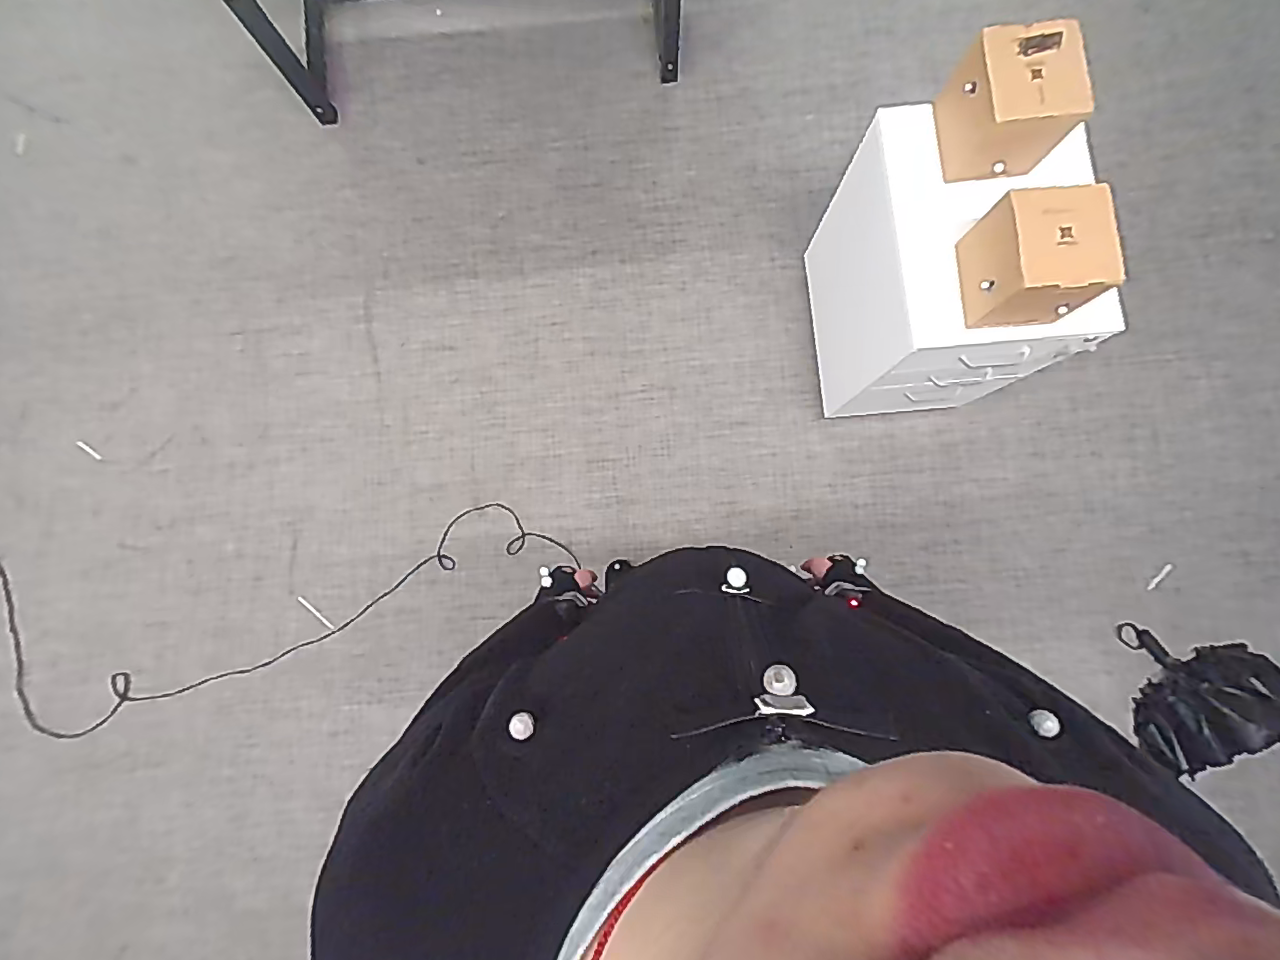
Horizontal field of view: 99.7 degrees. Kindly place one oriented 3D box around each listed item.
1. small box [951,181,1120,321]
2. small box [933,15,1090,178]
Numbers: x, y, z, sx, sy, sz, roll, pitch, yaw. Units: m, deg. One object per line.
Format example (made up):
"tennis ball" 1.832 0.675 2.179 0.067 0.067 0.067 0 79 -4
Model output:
"small box" 0.687 -0.393 0.960 0.168 0.176 0.179 -4 82 -1
"small box" 0.664 -0.690 0.989 0.168 0.176 0.179 -5 86 0
